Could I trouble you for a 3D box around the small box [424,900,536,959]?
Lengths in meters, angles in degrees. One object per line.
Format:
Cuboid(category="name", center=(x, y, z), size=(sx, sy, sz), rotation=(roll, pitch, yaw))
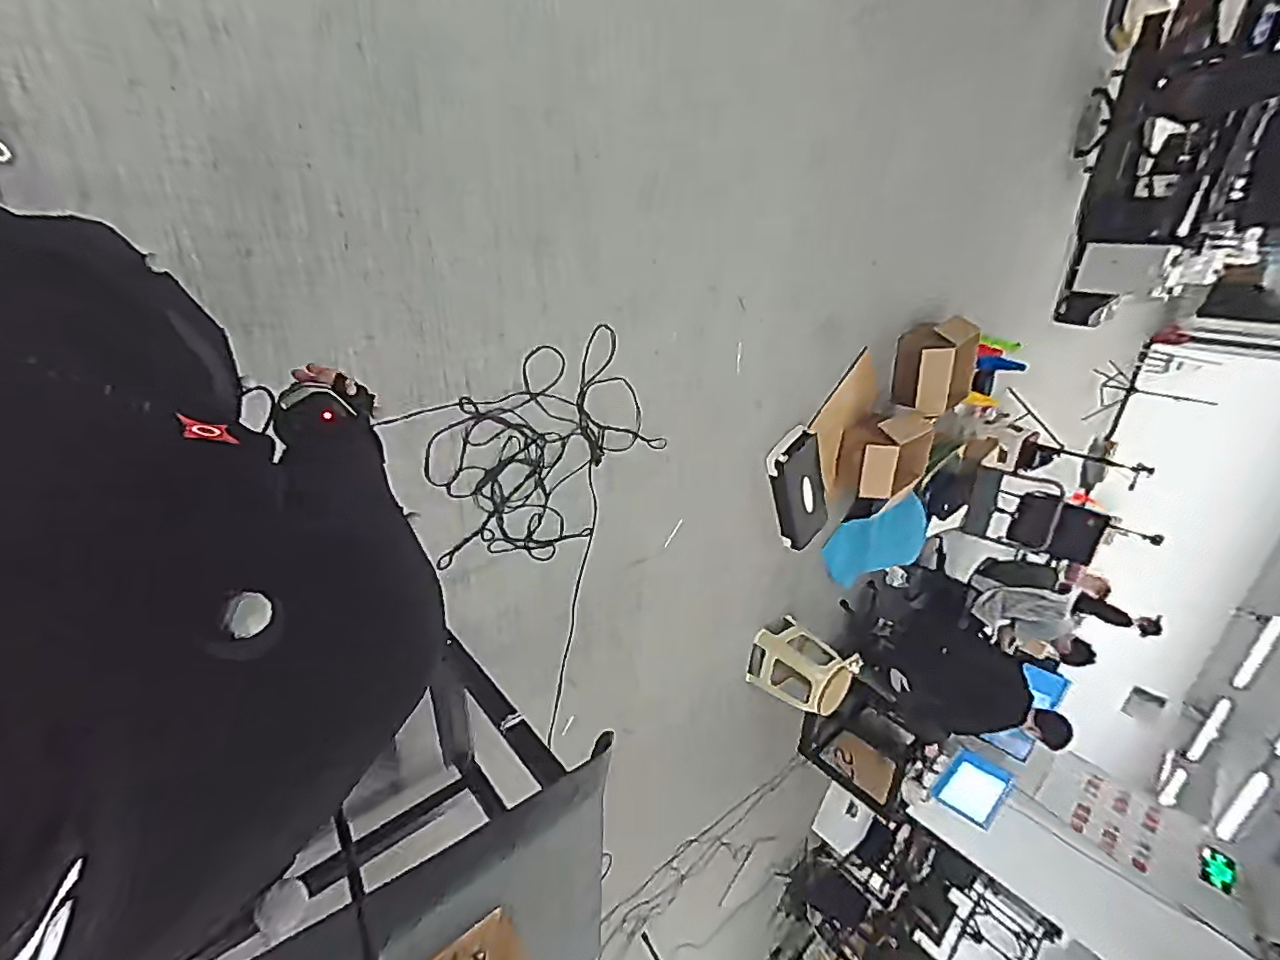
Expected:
Cuboid(category="small box", center=(-0.287, 0.951, 1.012), size=(0.168, 0.176, 0.179), rotation=(-19, 122, -37))
